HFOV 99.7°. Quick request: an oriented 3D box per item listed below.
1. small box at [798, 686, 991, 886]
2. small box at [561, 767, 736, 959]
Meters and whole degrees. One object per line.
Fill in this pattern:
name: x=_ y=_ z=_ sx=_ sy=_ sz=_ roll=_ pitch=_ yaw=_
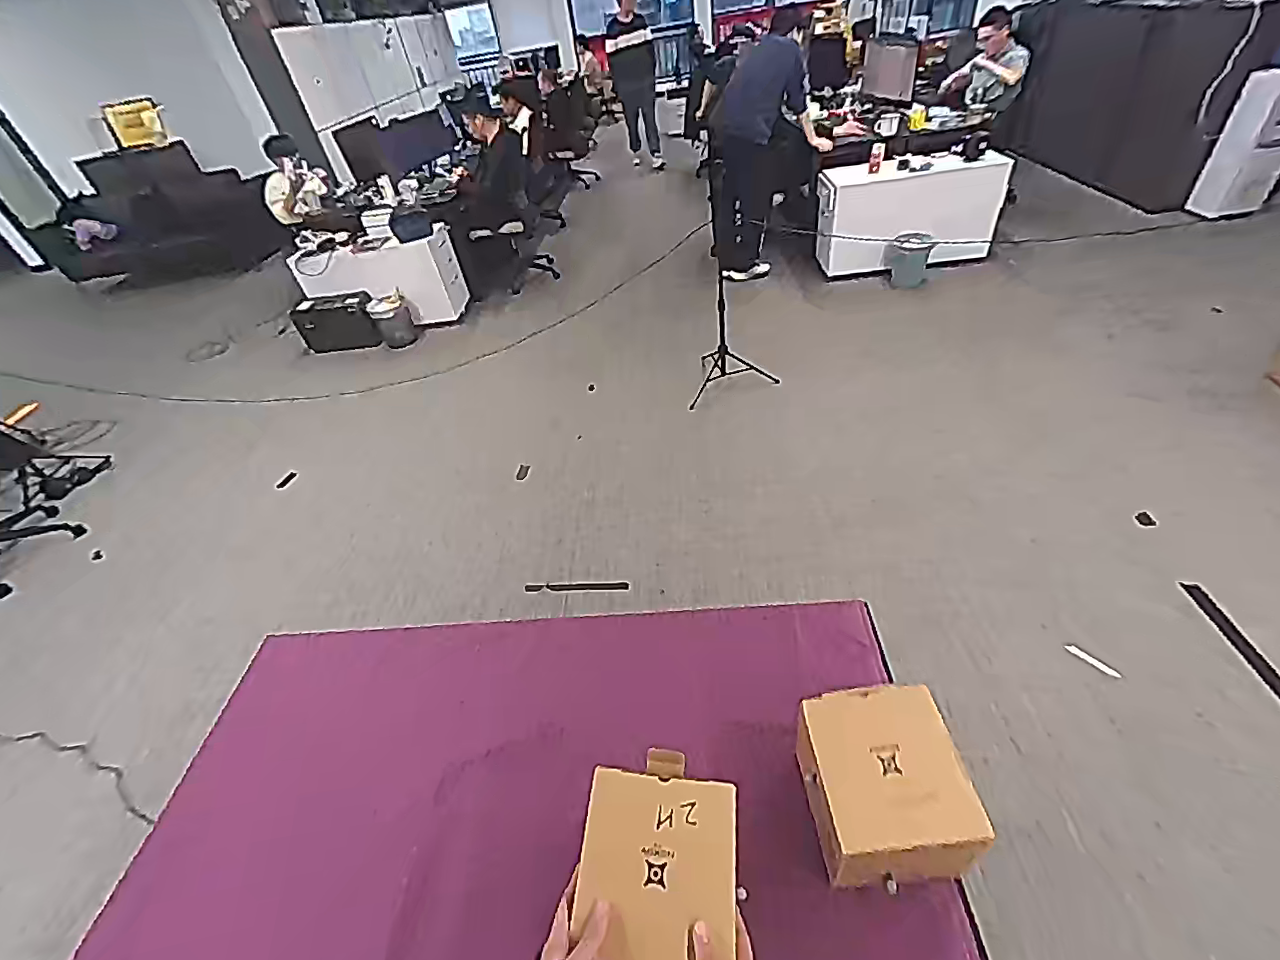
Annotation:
small box: x=0.308 y=0.396 z=0.703 sx=0.168 sy=0.176 sz=0.179 roll=-9 pitch=41 yaw=4
small box: x=0.017 y=0.460 z=0.623 sx=0.168 sy=0.176 sz=0.179 roll=6 pitch=47 yaw=6
